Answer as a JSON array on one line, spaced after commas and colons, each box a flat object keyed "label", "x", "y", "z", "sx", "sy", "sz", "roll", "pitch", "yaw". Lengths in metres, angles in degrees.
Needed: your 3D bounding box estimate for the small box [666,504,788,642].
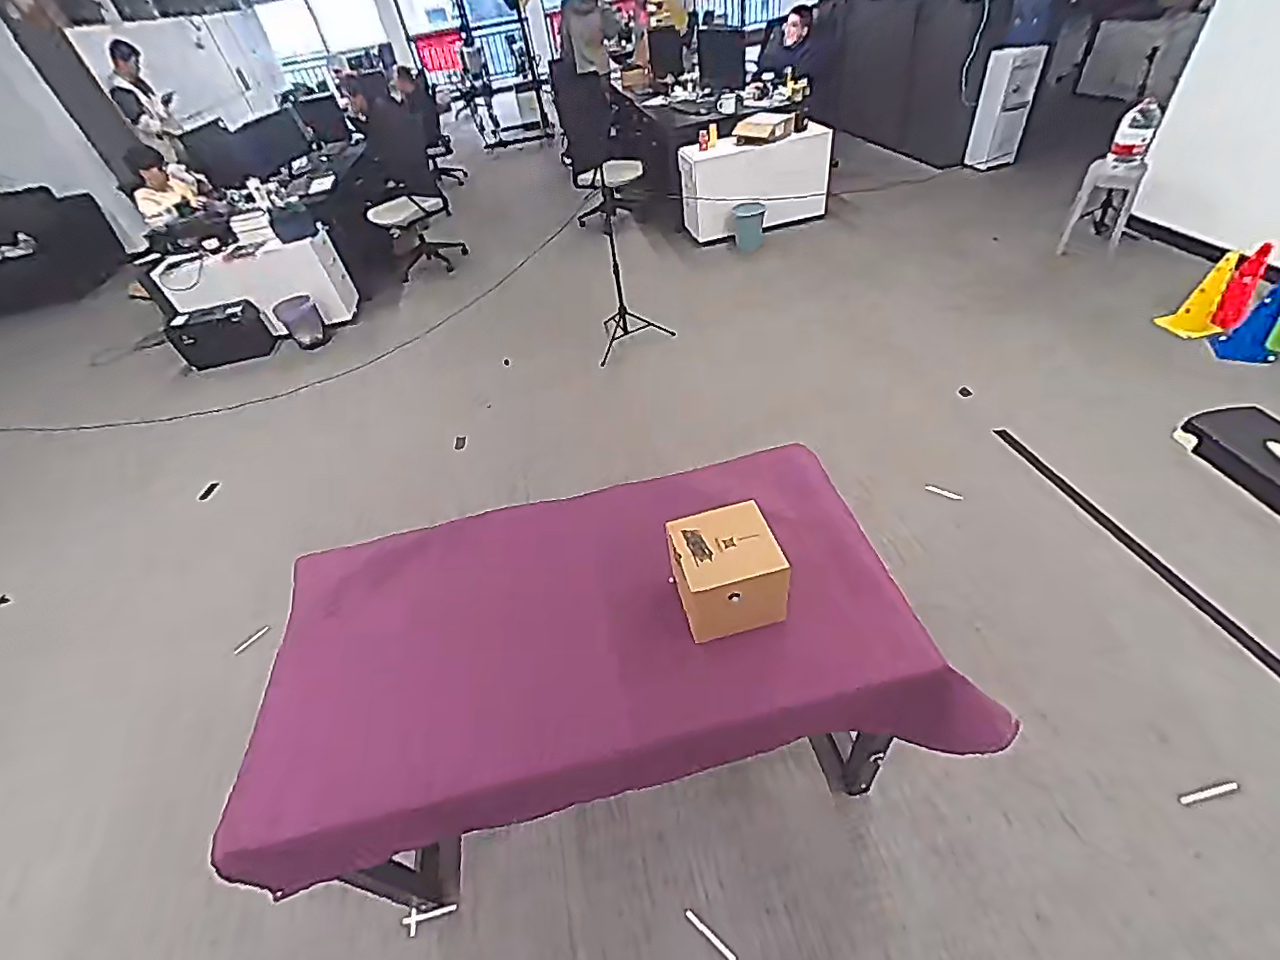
[{"label": "small box", "x": 0.159, "y": 0.176, "z": 1.002, "sx": 0.179, "sy": 0.176, "sz": 0.168, "roll": -14, "pitch": 43, "yaw": -4}]
